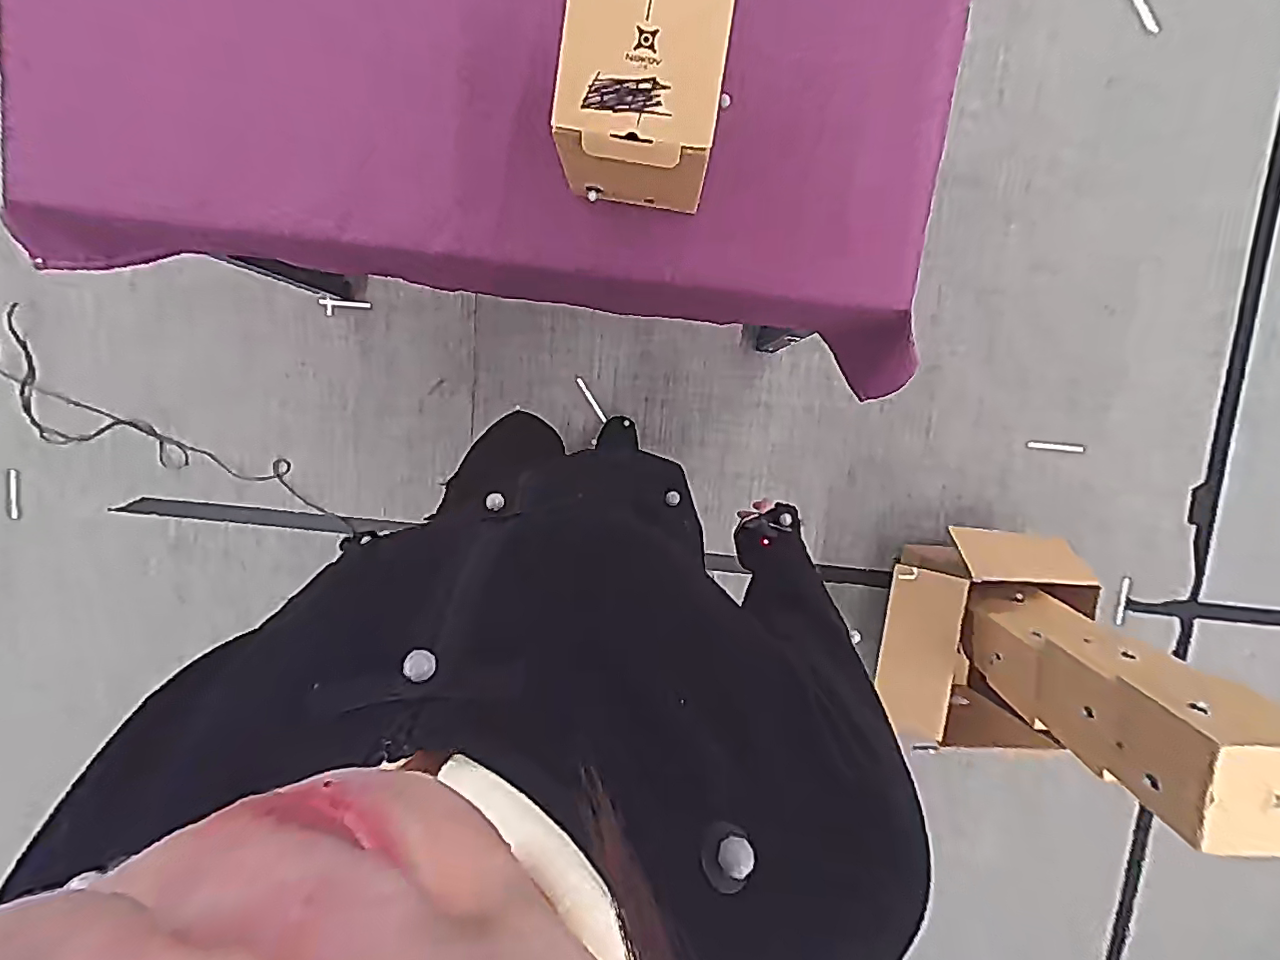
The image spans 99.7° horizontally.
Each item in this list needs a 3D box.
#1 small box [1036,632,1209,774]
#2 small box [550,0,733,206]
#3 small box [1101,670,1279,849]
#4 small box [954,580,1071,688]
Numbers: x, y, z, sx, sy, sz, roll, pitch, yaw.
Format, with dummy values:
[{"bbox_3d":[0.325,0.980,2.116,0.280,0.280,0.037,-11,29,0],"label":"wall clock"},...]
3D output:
[{"bbox_3d":[0.831,0.379,0.943,0.168,0.176,0.179,-1,101,5],"label":"small box"},{"bbox_3d":[0.003,-0.438,0.615,0.168,0.176,0.179,9,96,-1],"label":"small box"},{"bbox_3d":[0.822,0.391,0.779,0.179,0.176,0.168,0,101,3],"label":"small box"},{"bbox_3d":[0.870,0.350,1.269,0.168,0.176,0.179,-15,100,6],"label":"small box"}]
